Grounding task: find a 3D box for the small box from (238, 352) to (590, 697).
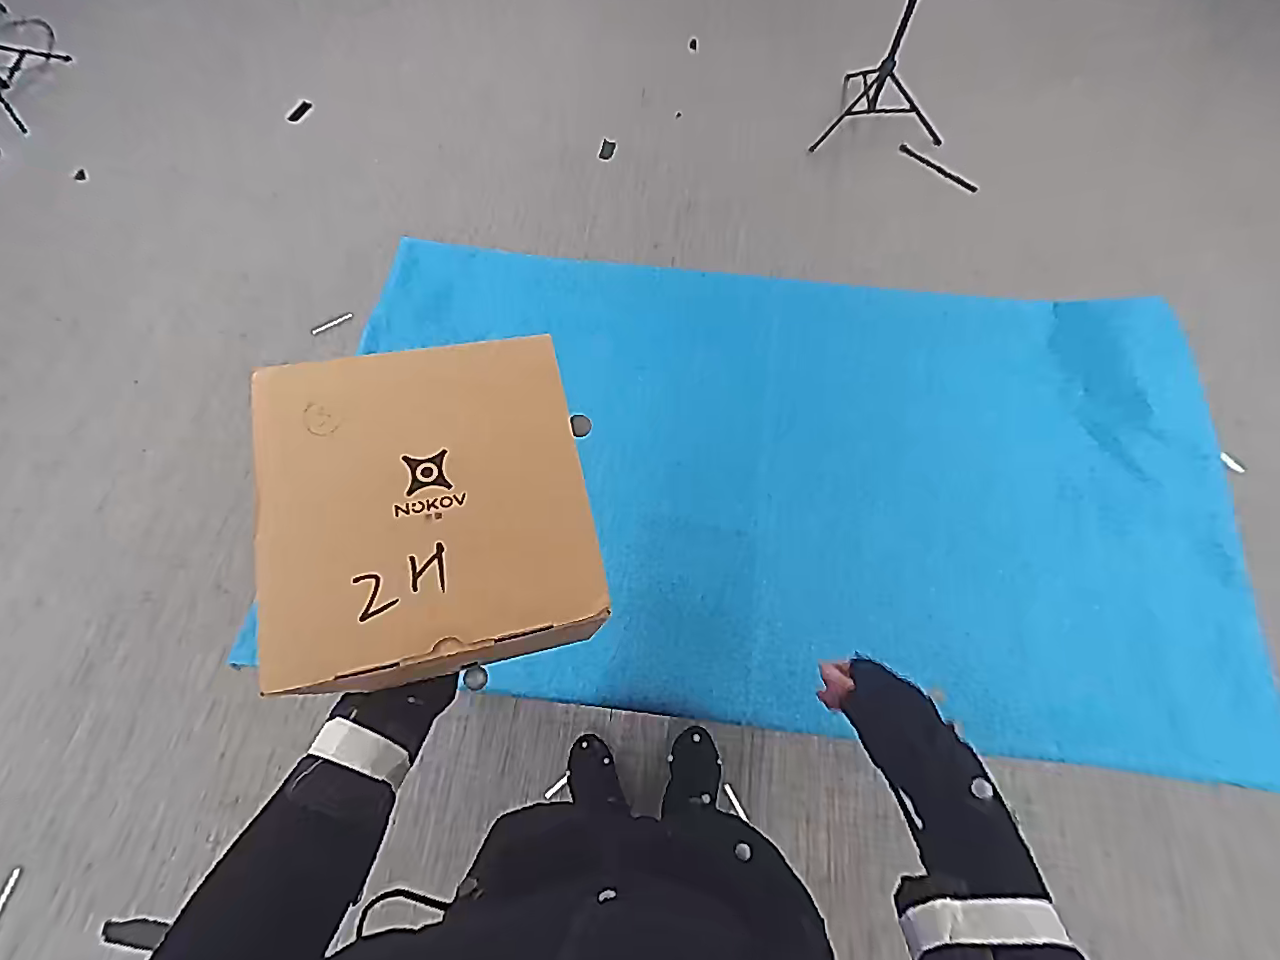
[{"bbox_3d":[-0.130,0.036,0.363,0.168,0.176,0.179,-7,74,-10],"label":"small box"}]
